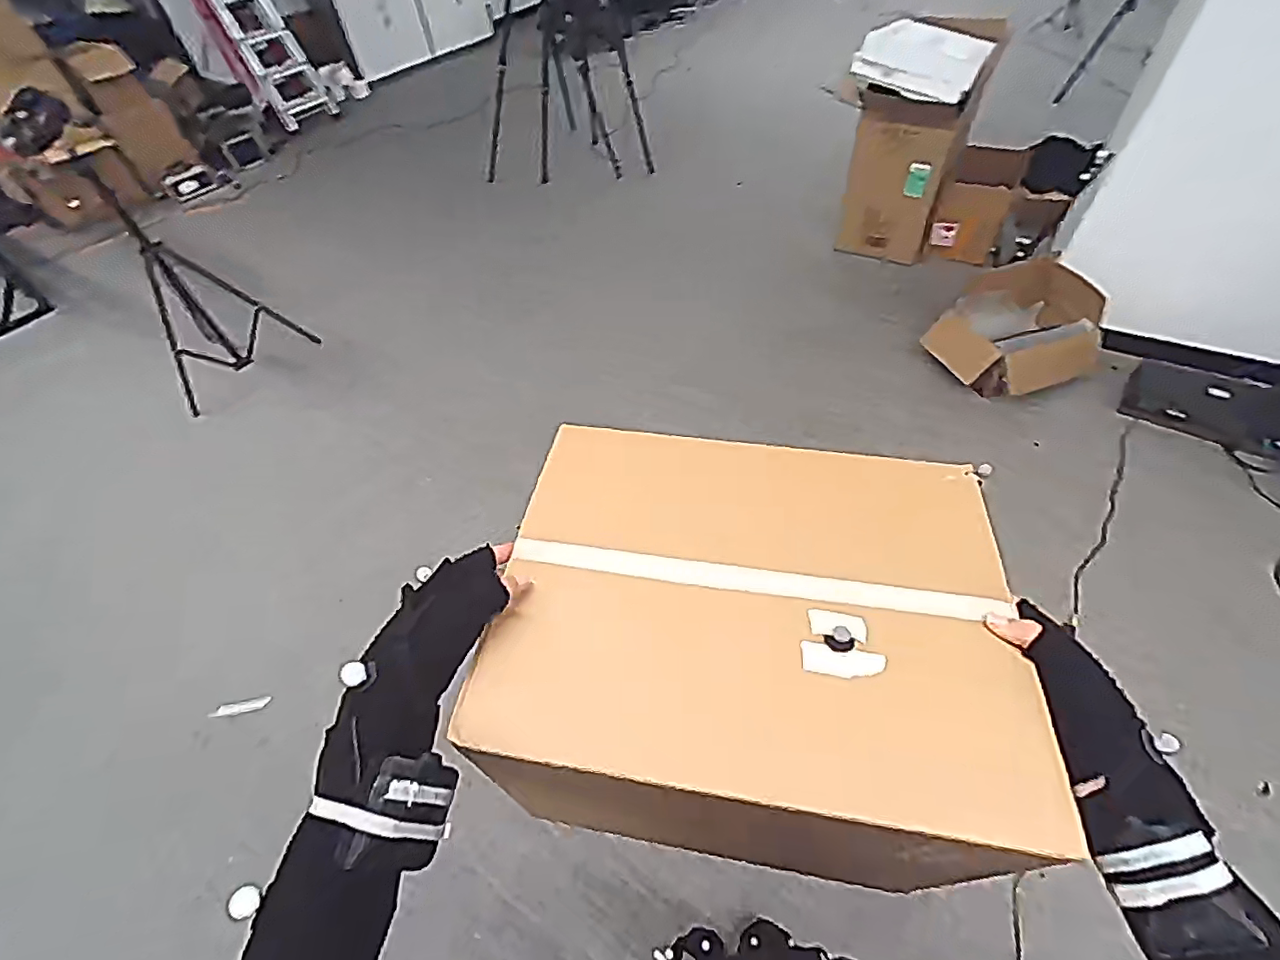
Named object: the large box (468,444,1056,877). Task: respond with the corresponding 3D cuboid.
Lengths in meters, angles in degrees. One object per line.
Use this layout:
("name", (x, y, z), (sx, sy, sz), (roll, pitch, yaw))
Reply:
("large box", (0.094, 0.189, 0.571), (0.408, 0.320, 0.320), (6, 51, 7))
